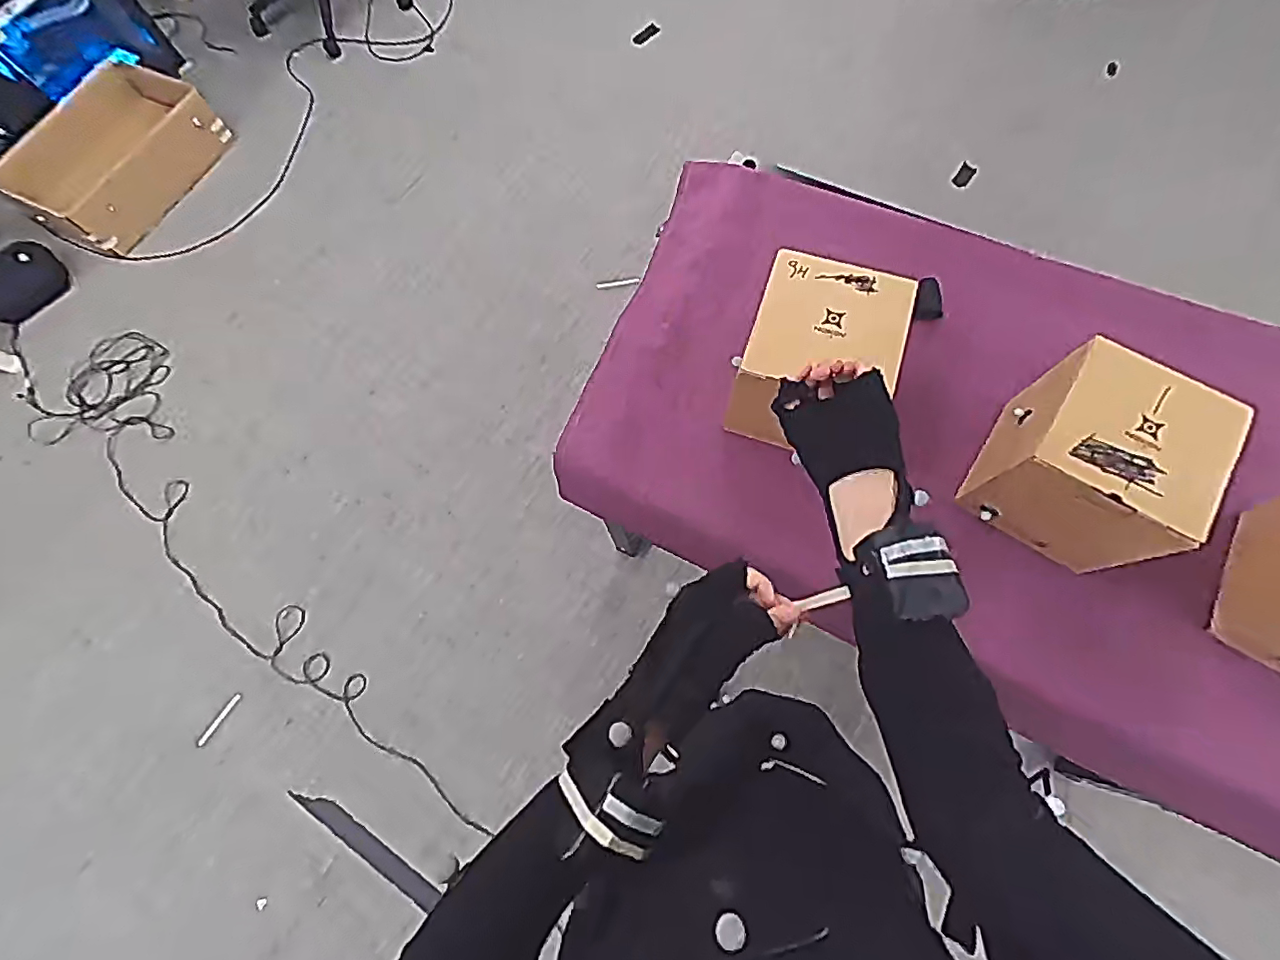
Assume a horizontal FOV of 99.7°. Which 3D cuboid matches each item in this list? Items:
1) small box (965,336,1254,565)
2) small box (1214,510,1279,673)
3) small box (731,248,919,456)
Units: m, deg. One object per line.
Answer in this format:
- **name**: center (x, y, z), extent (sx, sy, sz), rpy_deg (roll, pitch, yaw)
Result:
- **small box**: center (0.519, -0.023, 0.627), extent (0.168, 0.176, 0.179), rpy_deg (34, 75, 13)
- **small box**: center (0.775, 0.126, 0.565), extent (0.168, 0.176, 0.179), rpy_deg (28, 76, 13)
- **small box**: center (0.220, -0.150, 0.686), extent (0.168, 0.176, 0.179), rpy_deg (18, 74, 8)
